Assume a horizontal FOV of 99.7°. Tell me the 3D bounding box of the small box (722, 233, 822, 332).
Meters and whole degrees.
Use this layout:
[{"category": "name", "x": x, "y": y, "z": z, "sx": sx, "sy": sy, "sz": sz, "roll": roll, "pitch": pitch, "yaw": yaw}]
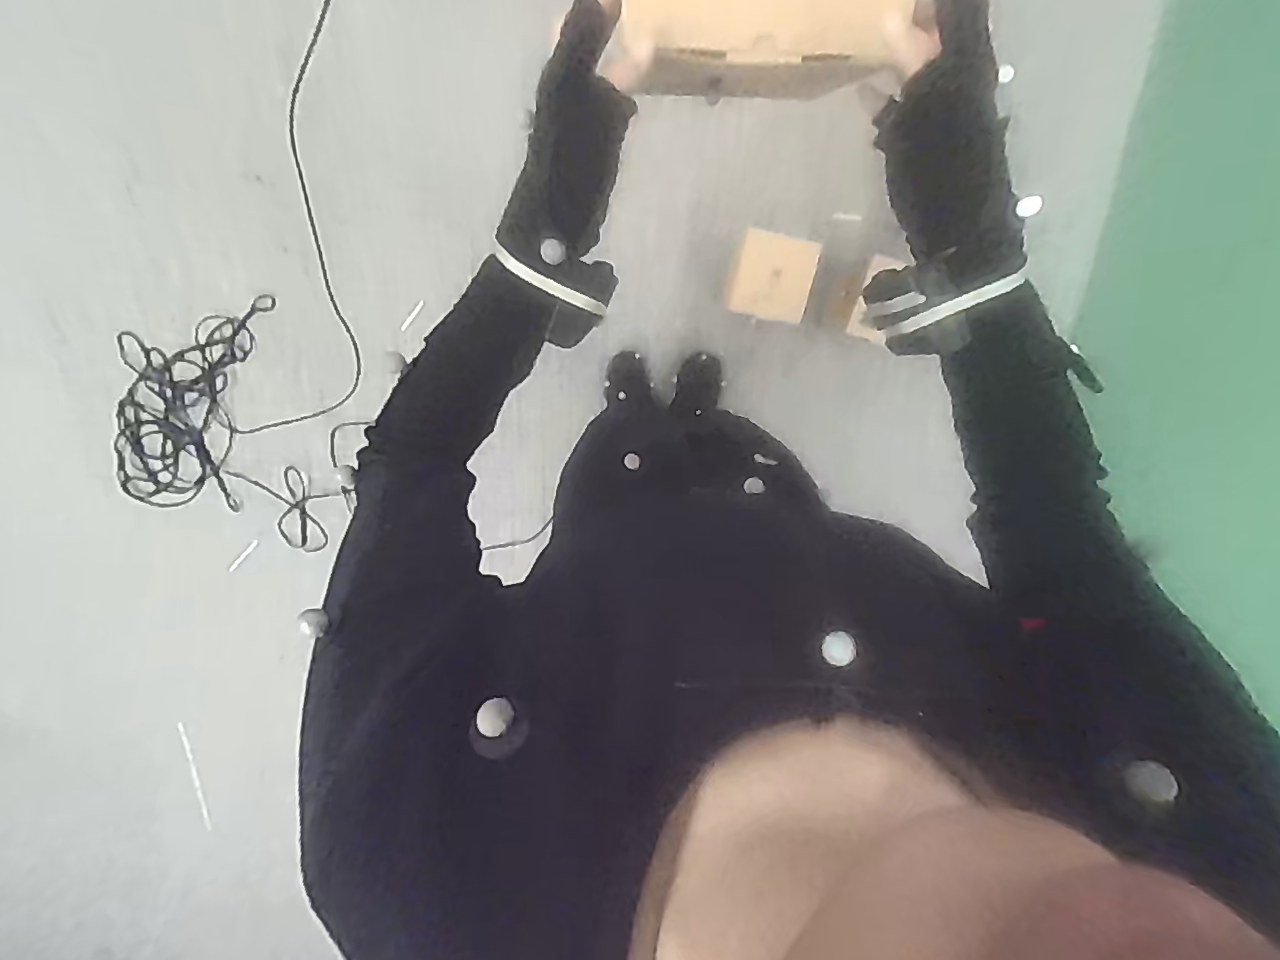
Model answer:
[{"category": "small box", "x": 0.295, "y": -0.450, "z": 1.250, "sx": 0.168, "sy": 0.176, "sz": 0.179, "roll": 12, "pitch": 107, "yaw": -2}]
